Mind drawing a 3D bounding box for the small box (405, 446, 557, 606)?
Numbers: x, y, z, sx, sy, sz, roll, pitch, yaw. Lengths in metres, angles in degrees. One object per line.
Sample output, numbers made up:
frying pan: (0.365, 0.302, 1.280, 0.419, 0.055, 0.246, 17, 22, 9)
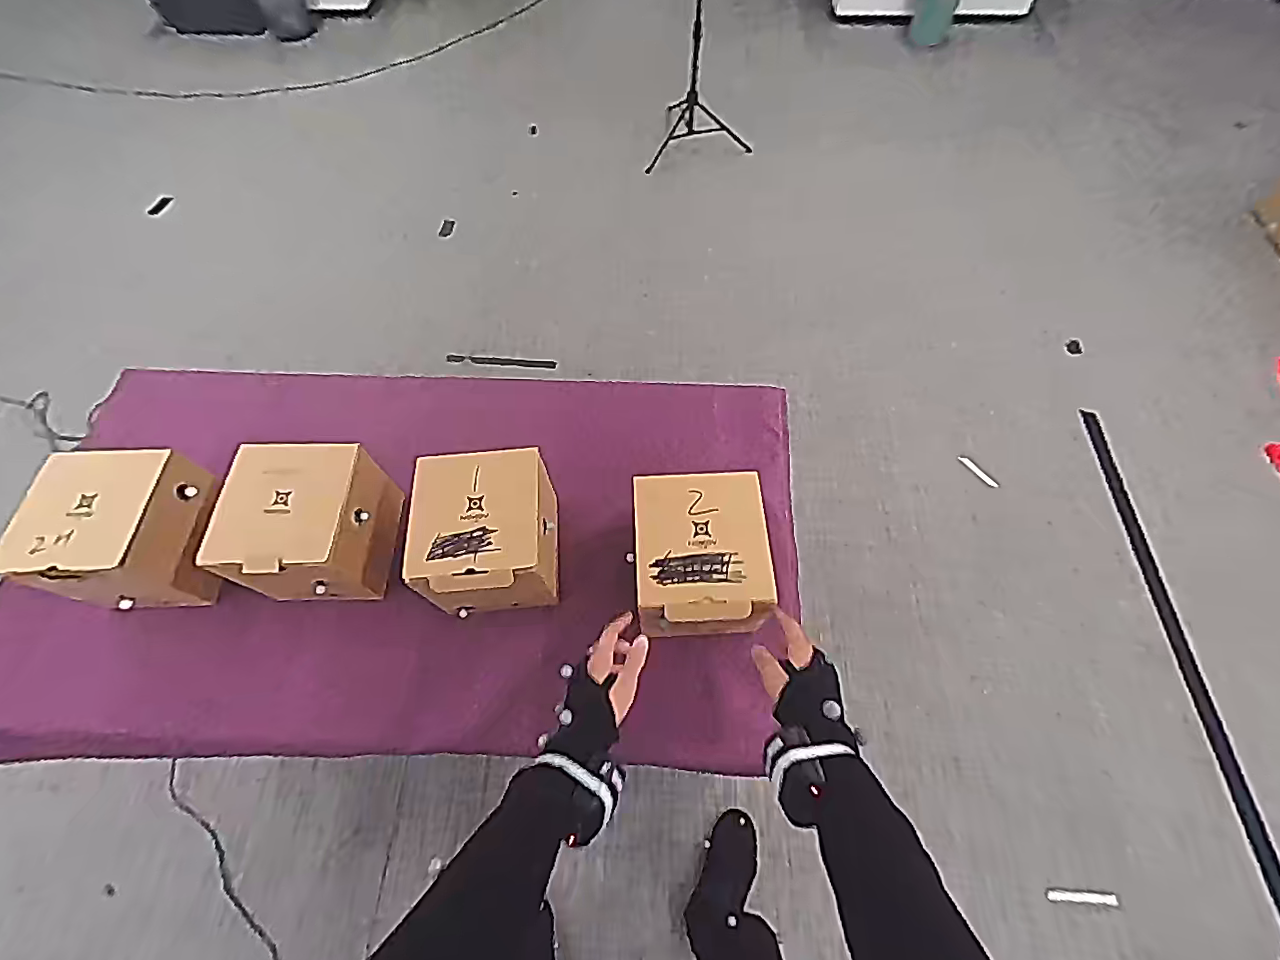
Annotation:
small box: (-0.211, 0.073, 0.765, 0.168, 0.176, 0.179, -5, 62, -2)

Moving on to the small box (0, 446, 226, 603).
small box: (-0.714, 0.068, 0.774, 0.168, 0.176, 0.179, -1, 63, 1)

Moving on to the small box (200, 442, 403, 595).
small box: (-0.464, 0.062, 0.777, 0.168, 0.176, 0.179, 0, 62, 0)
